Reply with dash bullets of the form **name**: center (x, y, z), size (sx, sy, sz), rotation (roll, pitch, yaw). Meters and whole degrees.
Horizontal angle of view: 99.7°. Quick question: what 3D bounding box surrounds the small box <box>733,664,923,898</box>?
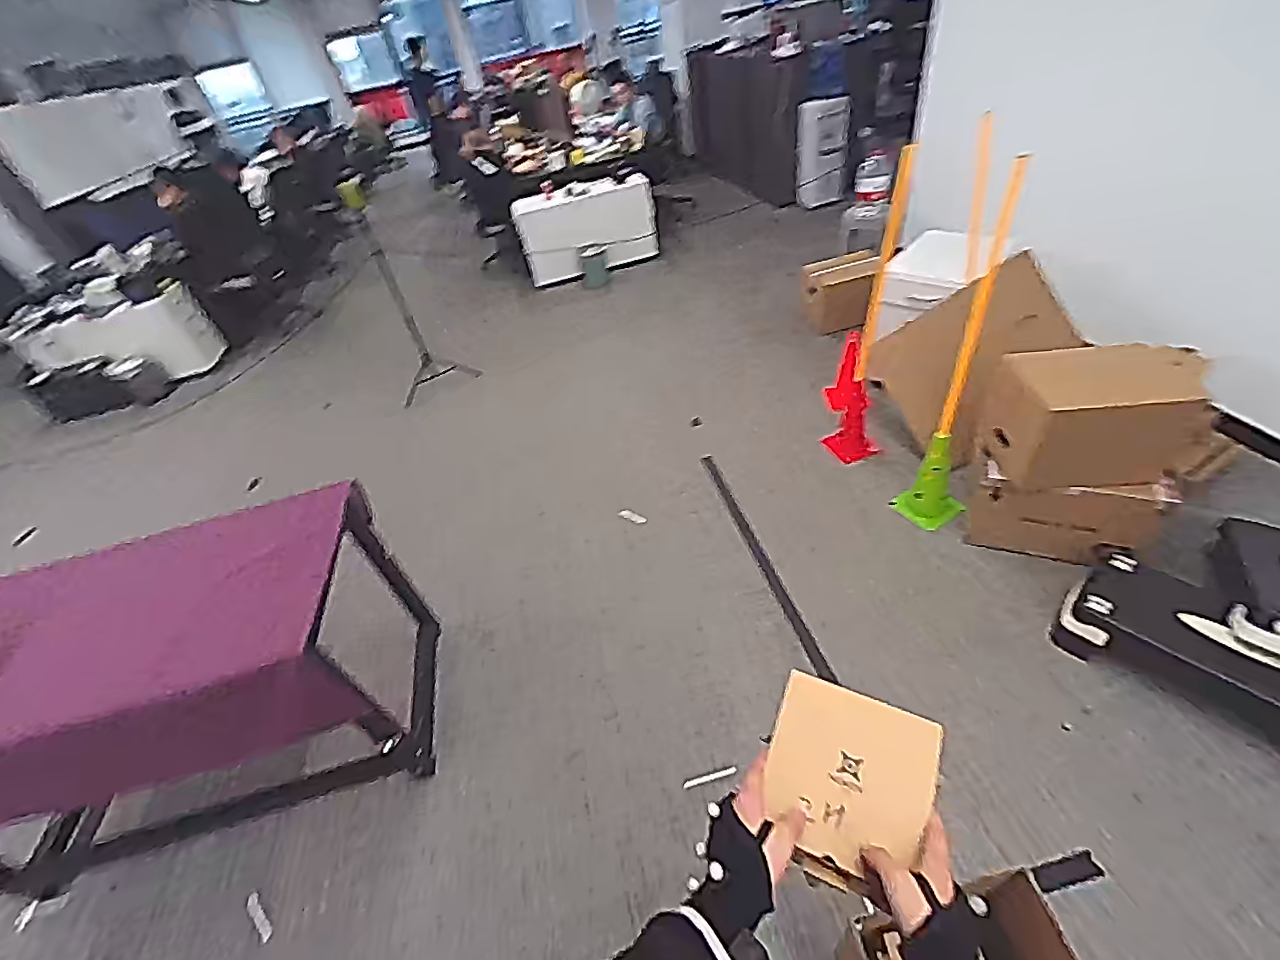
- **small box**: center (0.213, 0.353, 0.639), size (0.168, 0.176, 0.179), rotation (15, 57, 21)
